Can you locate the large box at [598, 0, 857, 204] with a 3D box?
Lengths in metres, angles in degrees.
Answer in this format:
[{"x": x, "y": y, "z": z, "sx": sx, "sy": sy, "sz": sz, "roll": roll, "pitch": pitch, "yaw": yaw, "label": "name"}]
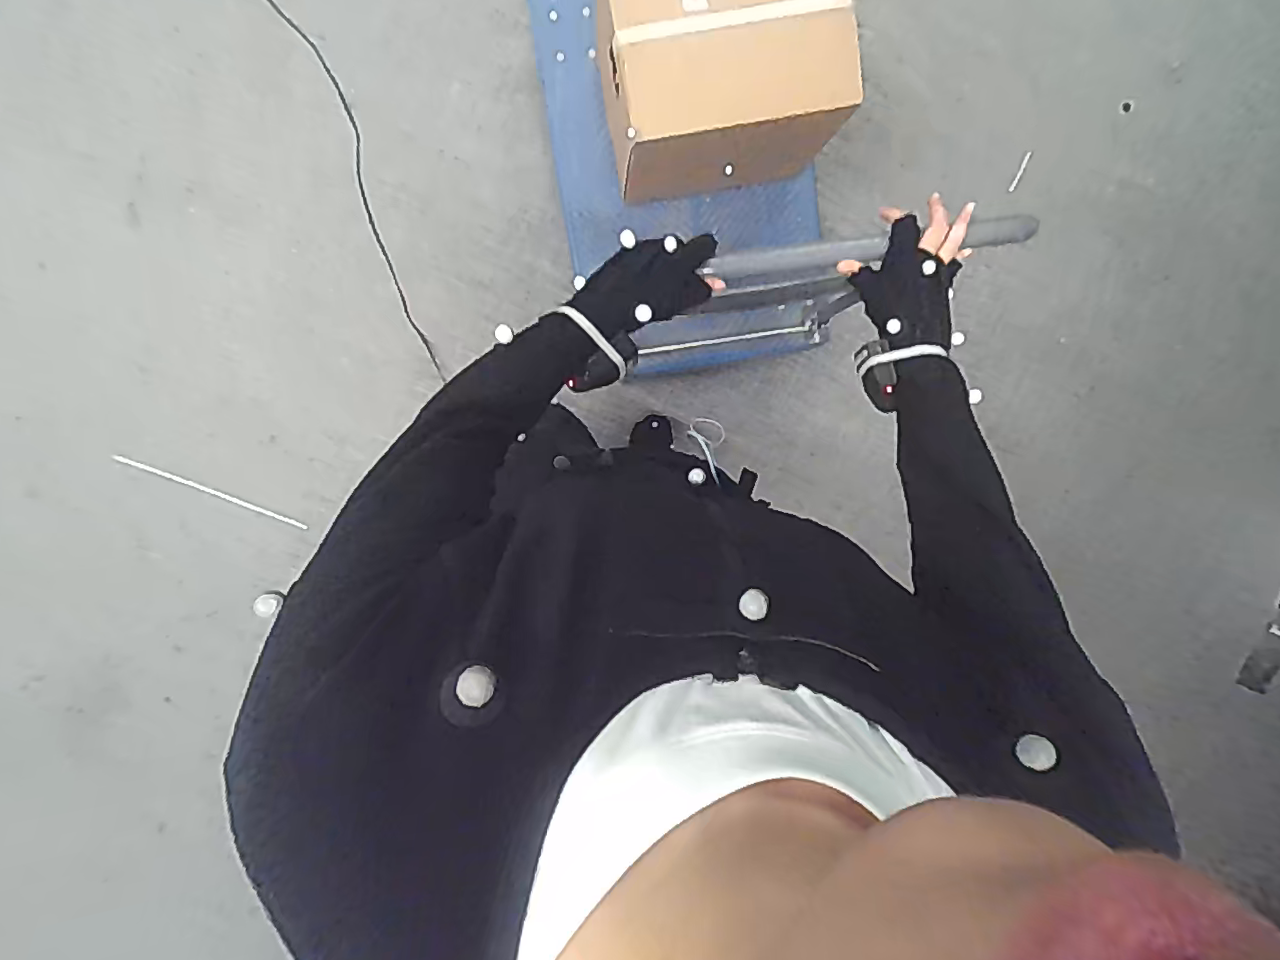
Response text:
[{"x": 0.145, "y": -0.782, "z": 1.051, "sx": 0.408, "sy": 0.320, "sz": 0.320, "roll": -12, "pitch": 98, "yaw": -2, "label": "large box"}]
